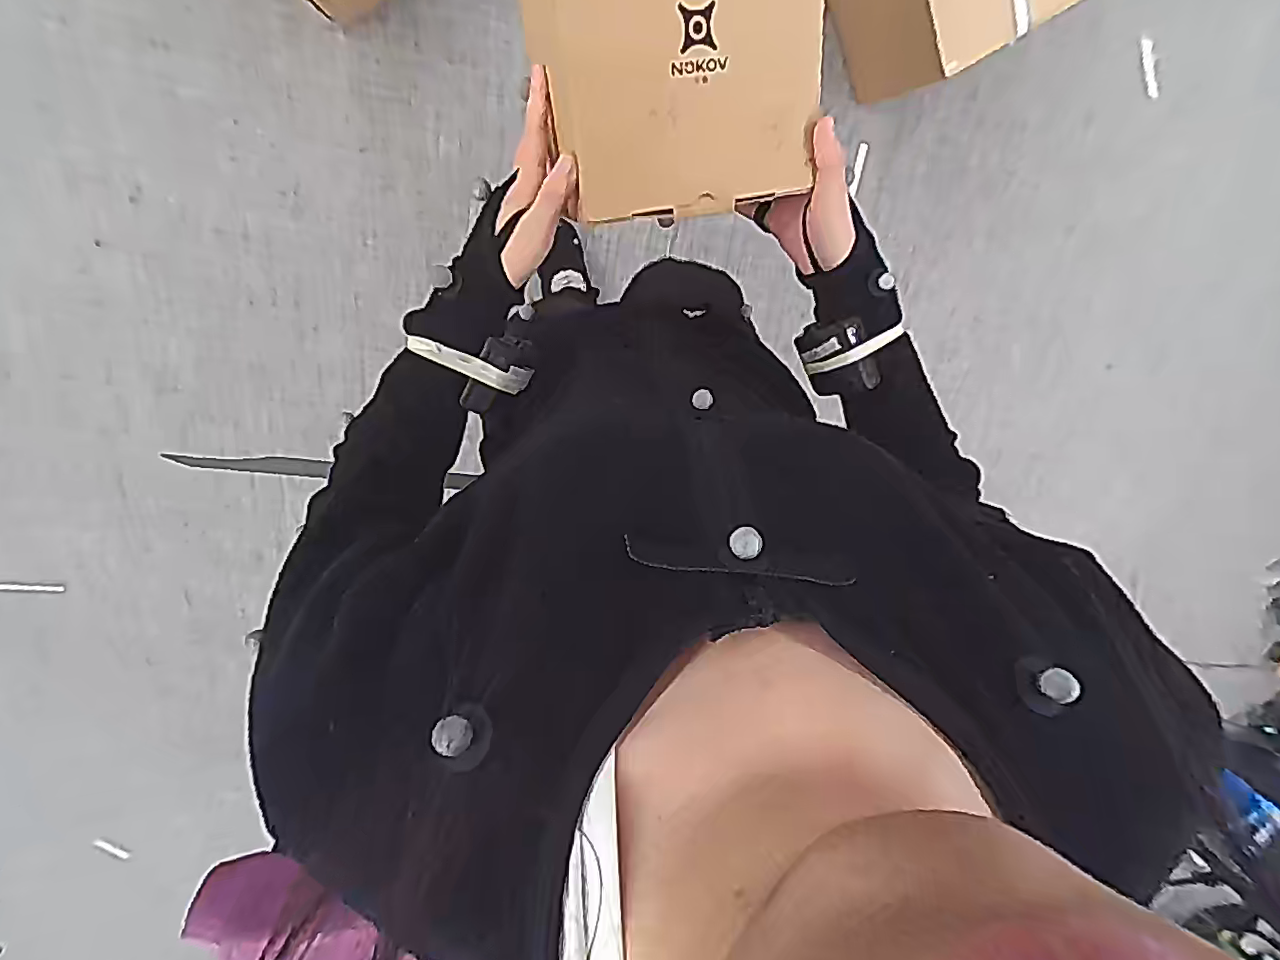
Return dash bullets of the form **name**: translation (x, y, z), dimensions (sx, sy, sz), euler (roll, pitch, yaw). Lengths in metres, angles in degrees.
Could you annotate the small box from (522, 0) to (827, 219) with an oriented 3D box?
- **small box**: translation (0.015, -0.300, 0.388), dimensions (0.168, 0.176, 0.179), euler (-14, 122, -11)
